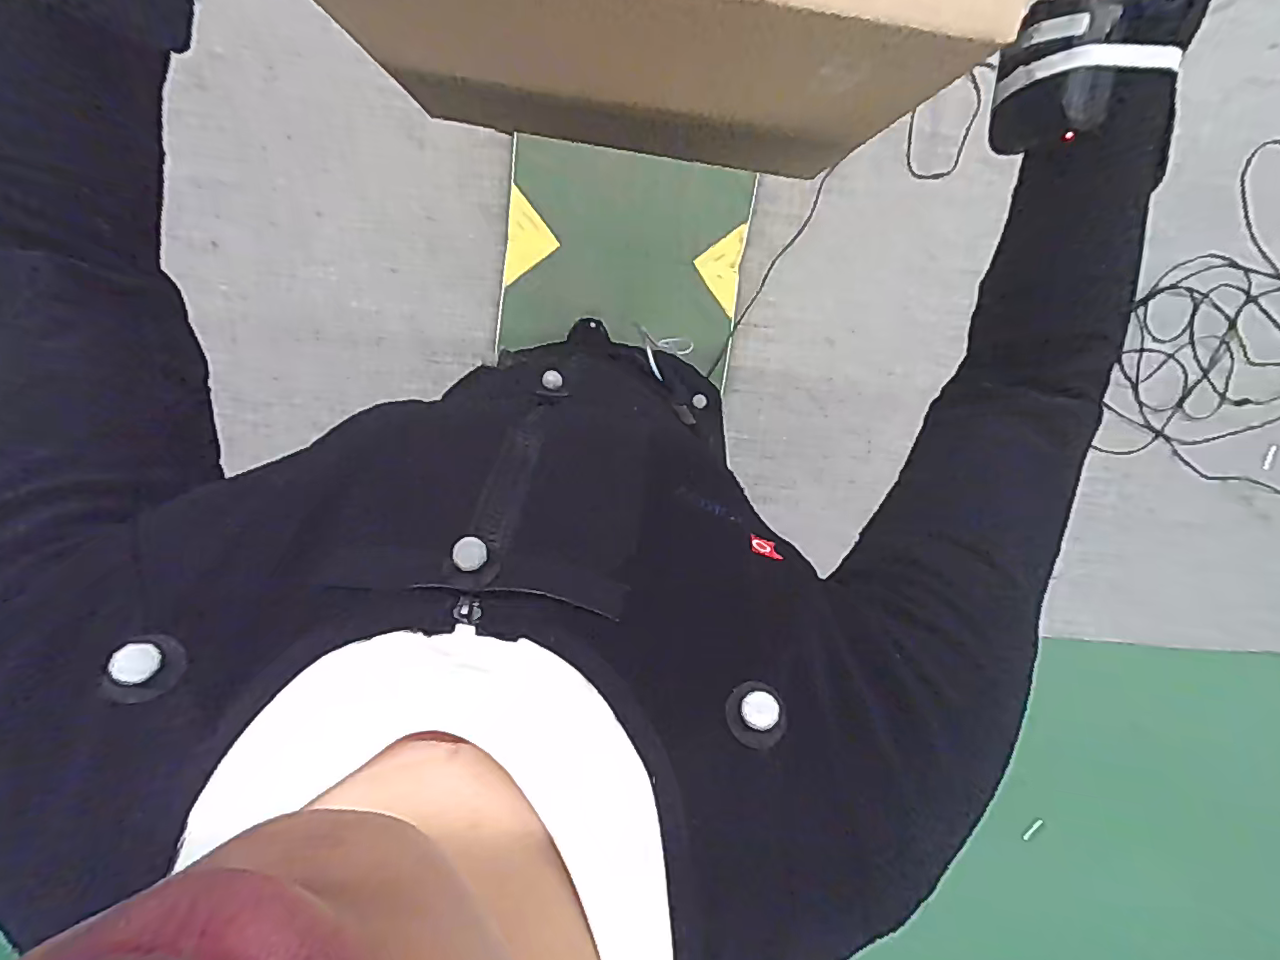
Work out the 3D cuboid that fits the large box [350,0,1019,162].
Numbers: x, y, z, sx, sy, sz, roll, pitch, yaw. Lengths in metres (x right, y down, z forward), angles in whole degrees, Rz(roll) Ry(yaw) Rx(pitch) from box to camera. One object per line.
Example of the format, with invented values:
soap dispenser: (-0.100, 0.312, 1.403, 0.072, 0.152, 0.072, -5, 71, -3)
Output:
large box: (0.015, -0.454, 0.373, 0.408, 0.320, 0.320, 6, 108, -5)
